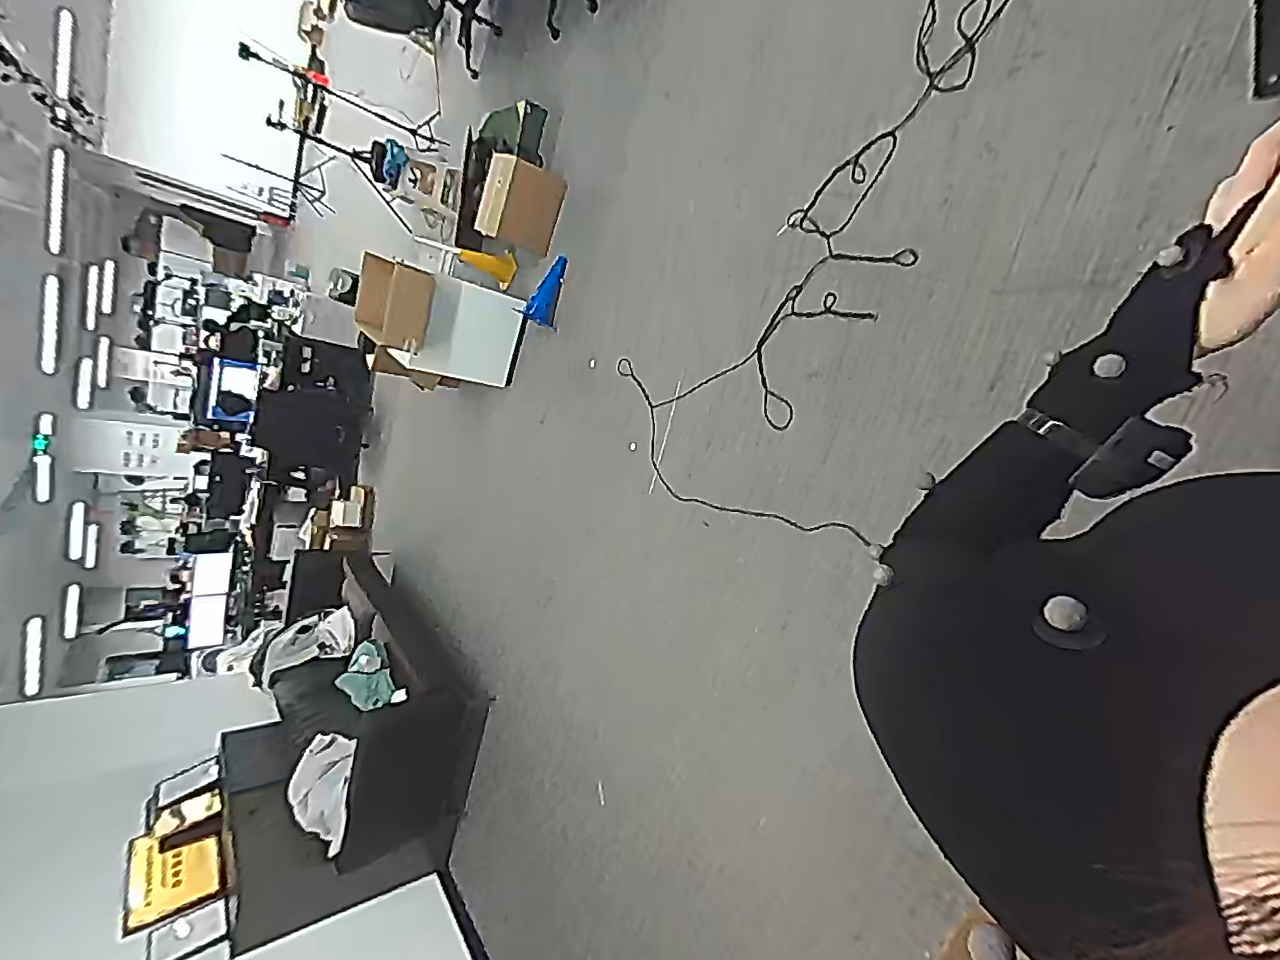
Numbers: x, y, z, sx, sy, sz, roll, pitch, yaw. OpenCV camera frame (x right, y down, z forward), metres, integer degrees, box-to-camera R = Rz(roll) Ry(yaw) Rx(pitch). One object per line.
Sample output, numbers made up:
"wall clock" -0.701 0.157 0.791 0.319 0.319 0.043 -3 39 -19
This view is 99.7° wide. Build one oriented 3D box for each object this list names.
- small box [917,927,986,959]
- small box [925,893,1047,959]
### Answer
"small box" 0.575 0.989 0.994 0.168 0.176 0.179 41 114 43
"small box" 0.695 1.008 1.106 0.168 0.176 0.179 39 114 43
